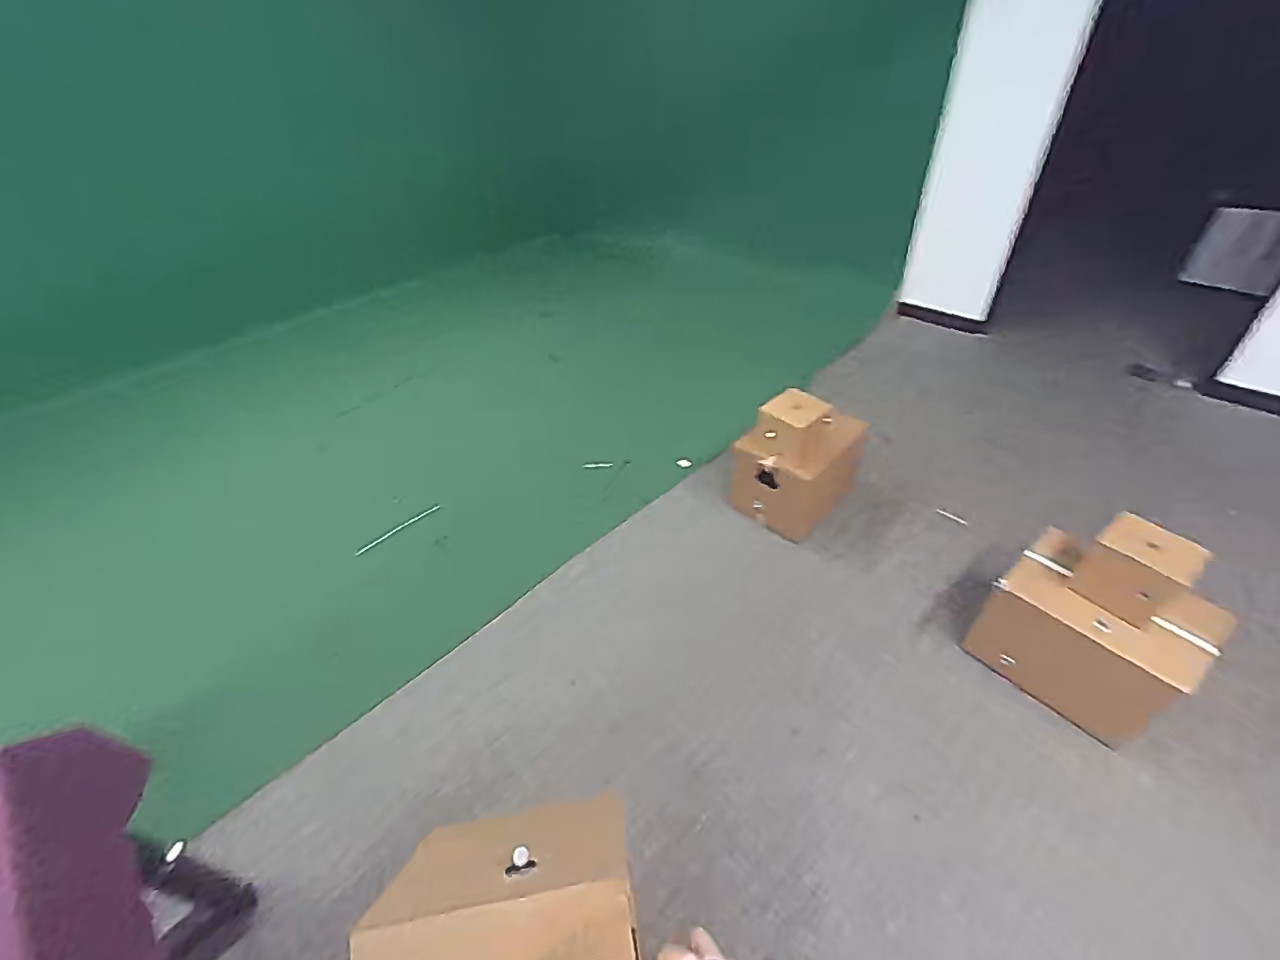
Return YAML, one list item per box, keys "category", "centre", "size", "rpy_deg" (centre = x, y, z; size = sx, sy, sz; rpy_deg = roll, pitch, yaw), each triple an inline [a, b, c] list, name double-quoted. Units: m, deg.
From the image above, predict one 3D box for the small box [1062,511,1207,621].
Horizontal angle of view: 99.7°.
- category: "small box"
  centre: [1.182, 0.214, 1.303]
  size: [0.168, 0.176, 0.179]
  rpy_deg: [-26, 45, -25]

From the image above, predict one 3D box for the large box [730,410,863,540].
- category: "large box"
  centre: [0.577, -0.048, 2.032]
  size: [0.320, 0.320, 0.408]
  rpy_deg: [31, 52, 34]

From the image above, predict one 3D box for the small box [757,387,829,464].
- category: "small box"
  centre: [0.508, -0.181, 1.818]
  size: [0.179, 0.176, 0.168]
  rpy_deg: [-32, 49, -29]
